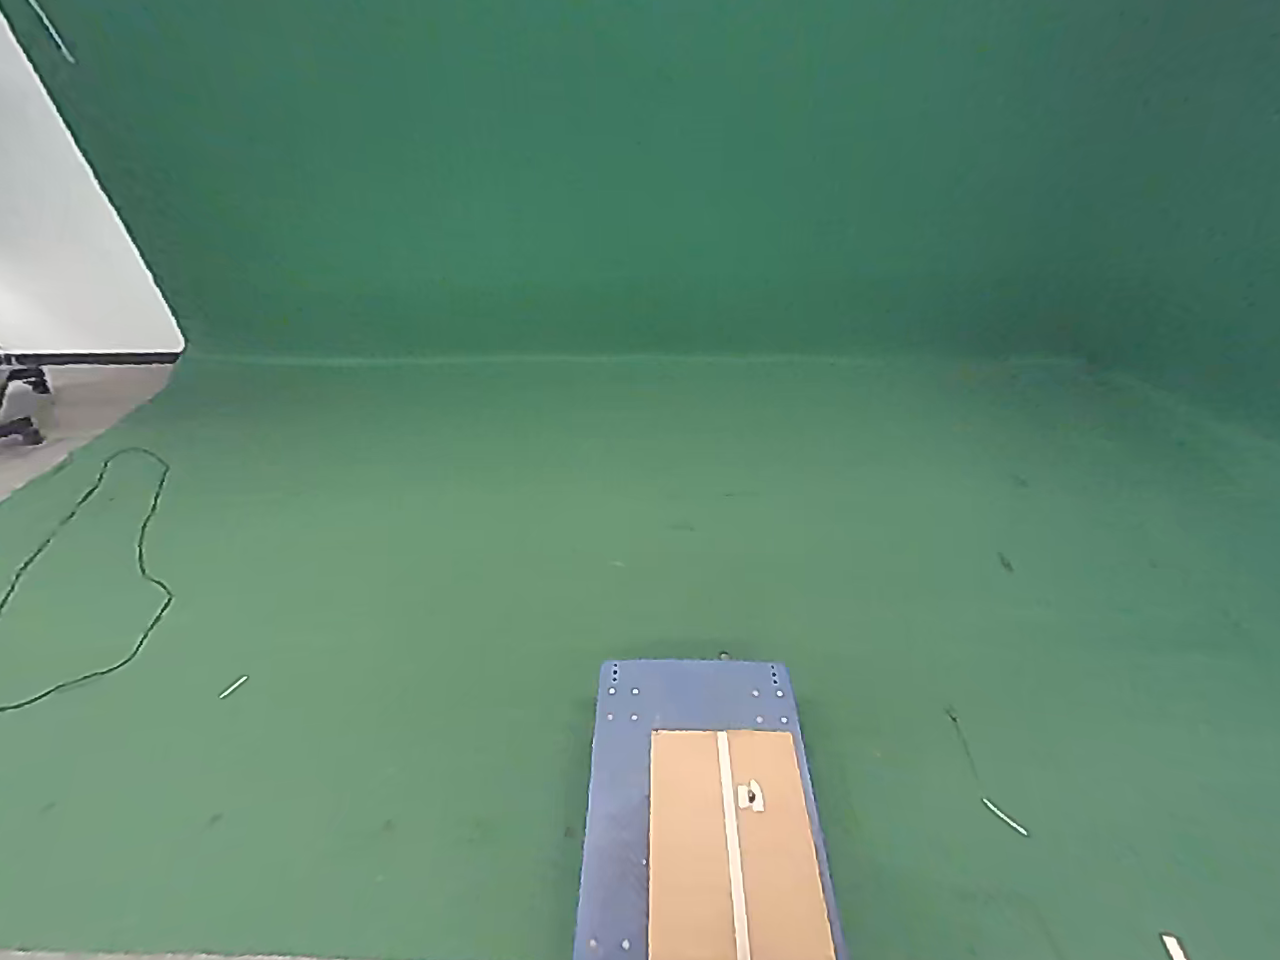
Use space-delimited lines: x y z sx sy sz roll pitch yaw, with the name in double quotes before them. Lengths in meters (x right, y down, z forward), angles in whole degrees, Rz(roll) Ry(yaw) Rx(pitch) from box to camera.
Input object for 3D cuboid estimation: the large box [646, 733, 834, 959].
"large box" 0.173 0.803 1.131 0.320 0.320 0.408 0 37 1
